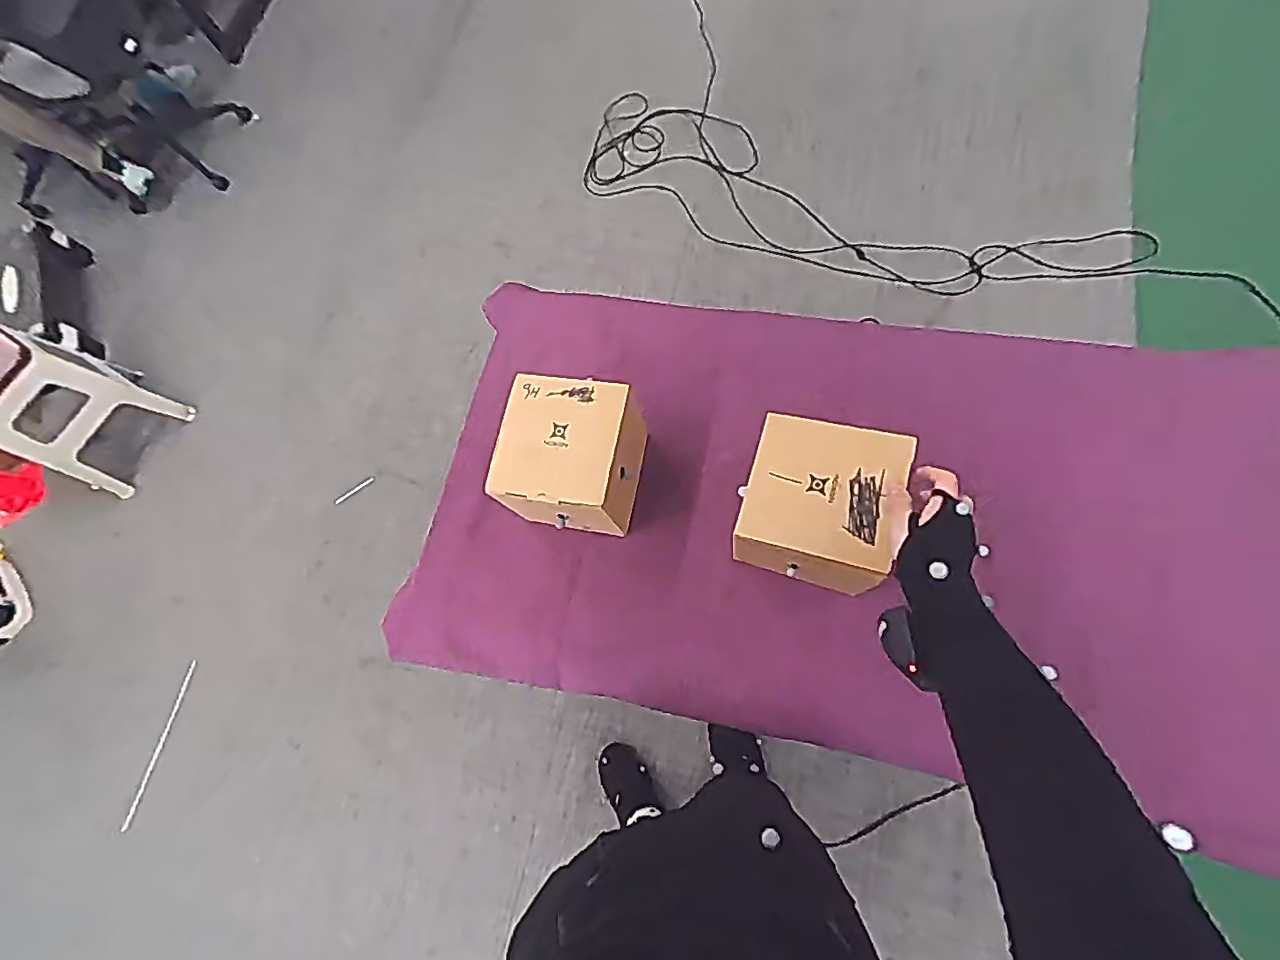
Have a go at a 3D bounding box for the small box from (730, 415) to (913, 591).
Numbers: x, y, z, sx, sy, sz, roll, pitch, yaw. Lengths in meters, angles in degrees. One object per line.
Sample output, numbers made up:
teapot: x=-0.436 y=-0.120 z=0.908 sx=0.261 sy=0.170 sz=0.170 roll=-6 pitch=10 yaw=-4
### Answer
small box: x=0.226 y=0.039 z=0.705 sx=0.179 sy=0.176 sz=0.168 roll=16 pitch=75 yaw=16

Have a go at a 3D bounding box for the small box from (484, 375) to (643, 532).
small box: x=-0.098 y=-0.030 z=0.784 sx=0.168 sy=0.176 sz=0.179 roll=8 pitch=74 yaw=12
